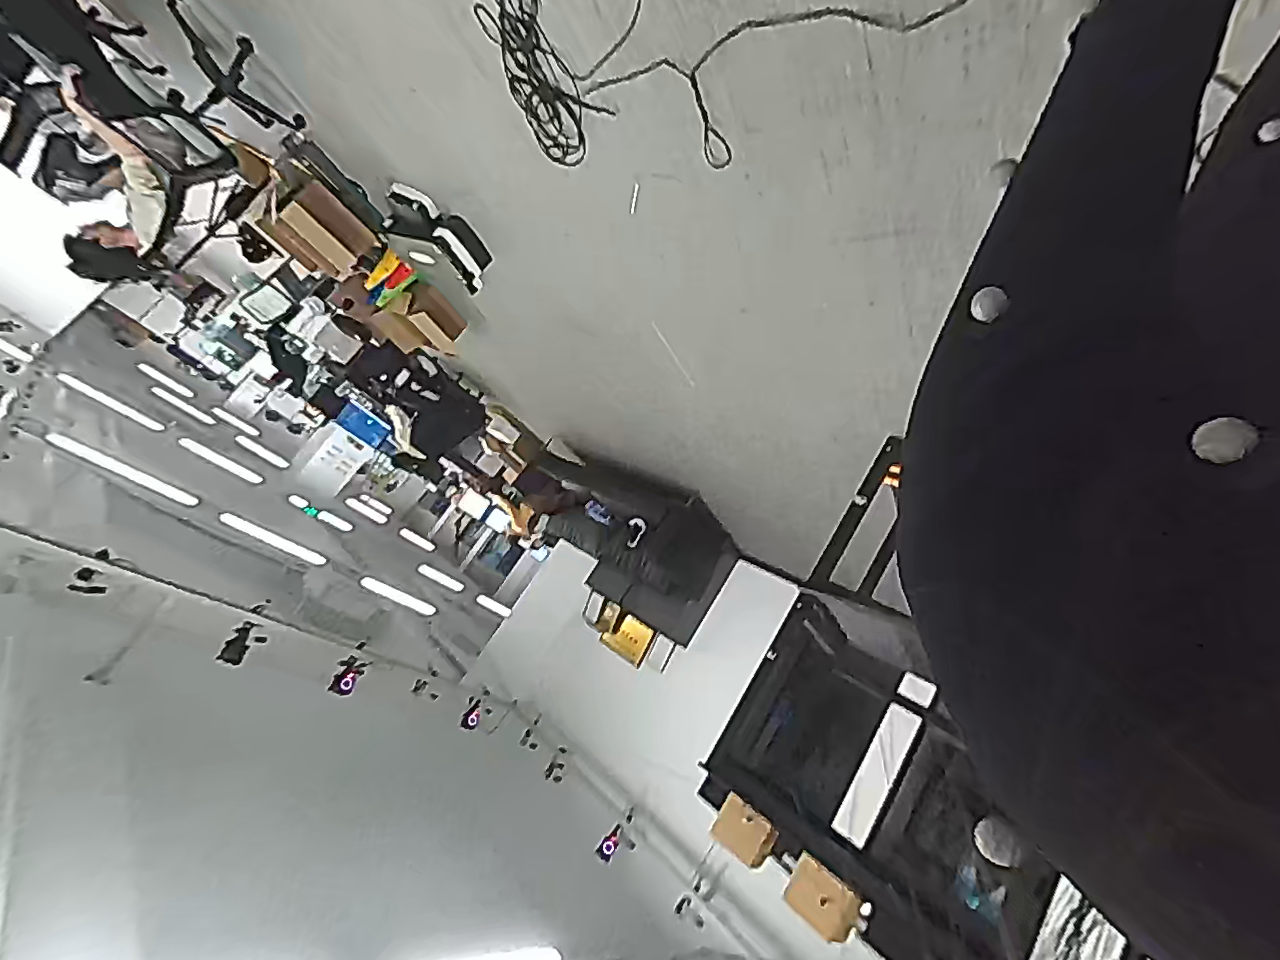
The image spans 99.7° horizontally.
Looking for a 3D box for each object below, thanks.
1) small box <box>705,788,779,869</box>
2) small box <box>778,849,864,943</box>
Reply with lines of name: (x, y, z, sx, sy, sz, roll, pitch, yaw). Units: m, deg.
small box: (0.358, 1.192, 1.857, 0.168, 0.176, 0.179, 23, 162, 37)
small box: (0.558, 1.268, 1.657, 0.168, 0.176, 0.179, 20, 161, 47)
